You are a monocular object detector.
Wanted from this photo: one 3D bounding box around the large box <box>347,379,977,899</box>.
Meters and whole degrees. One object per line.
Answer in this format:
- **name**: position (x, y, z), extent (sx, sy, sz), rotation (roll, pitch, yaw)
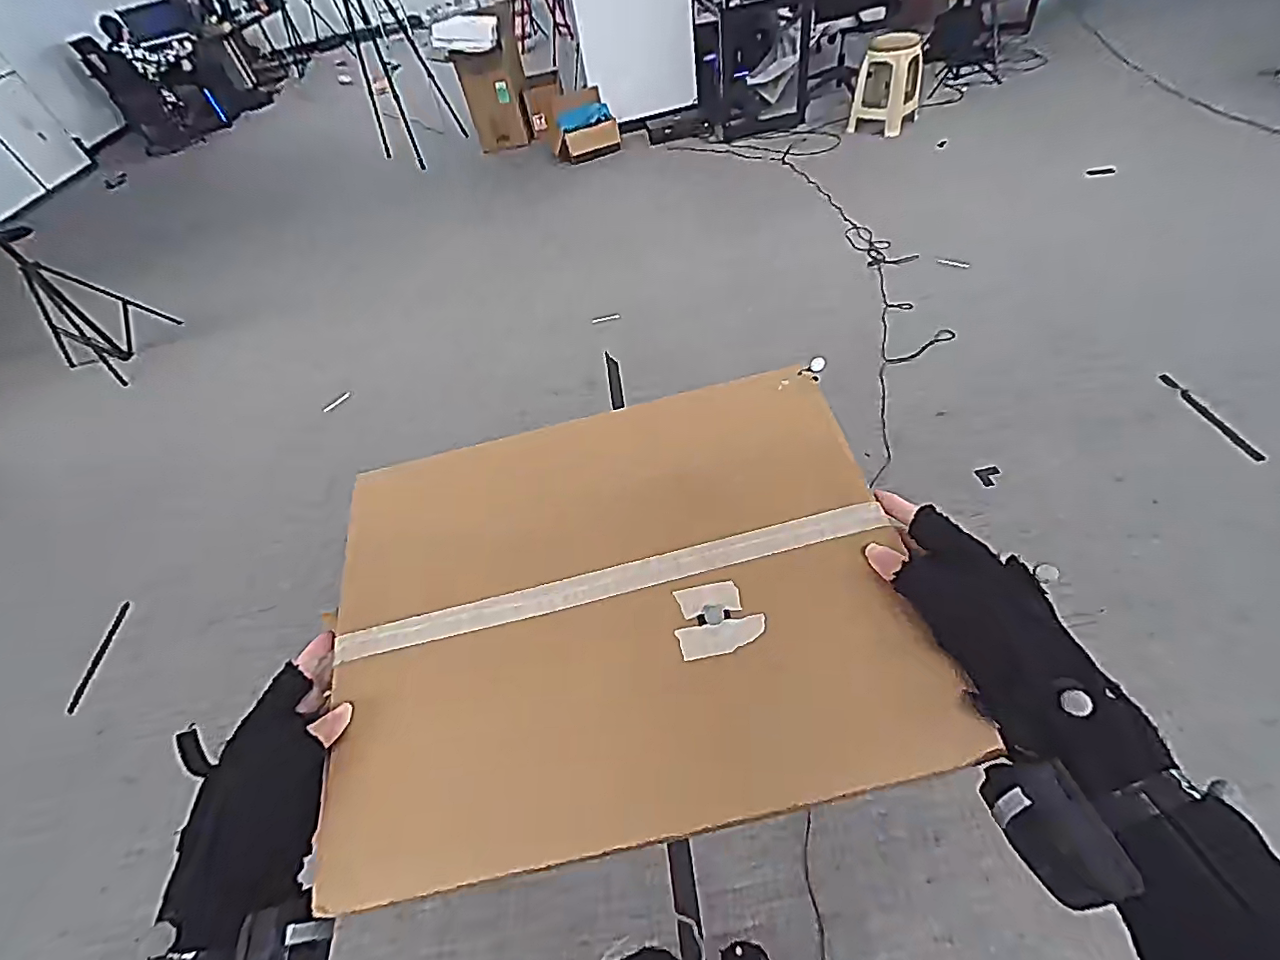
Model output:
- **large box**: position (0.002, 0.159, 0.529), extent (0.408, 0.320, 0.320), rotation (-14, 58, 0)
